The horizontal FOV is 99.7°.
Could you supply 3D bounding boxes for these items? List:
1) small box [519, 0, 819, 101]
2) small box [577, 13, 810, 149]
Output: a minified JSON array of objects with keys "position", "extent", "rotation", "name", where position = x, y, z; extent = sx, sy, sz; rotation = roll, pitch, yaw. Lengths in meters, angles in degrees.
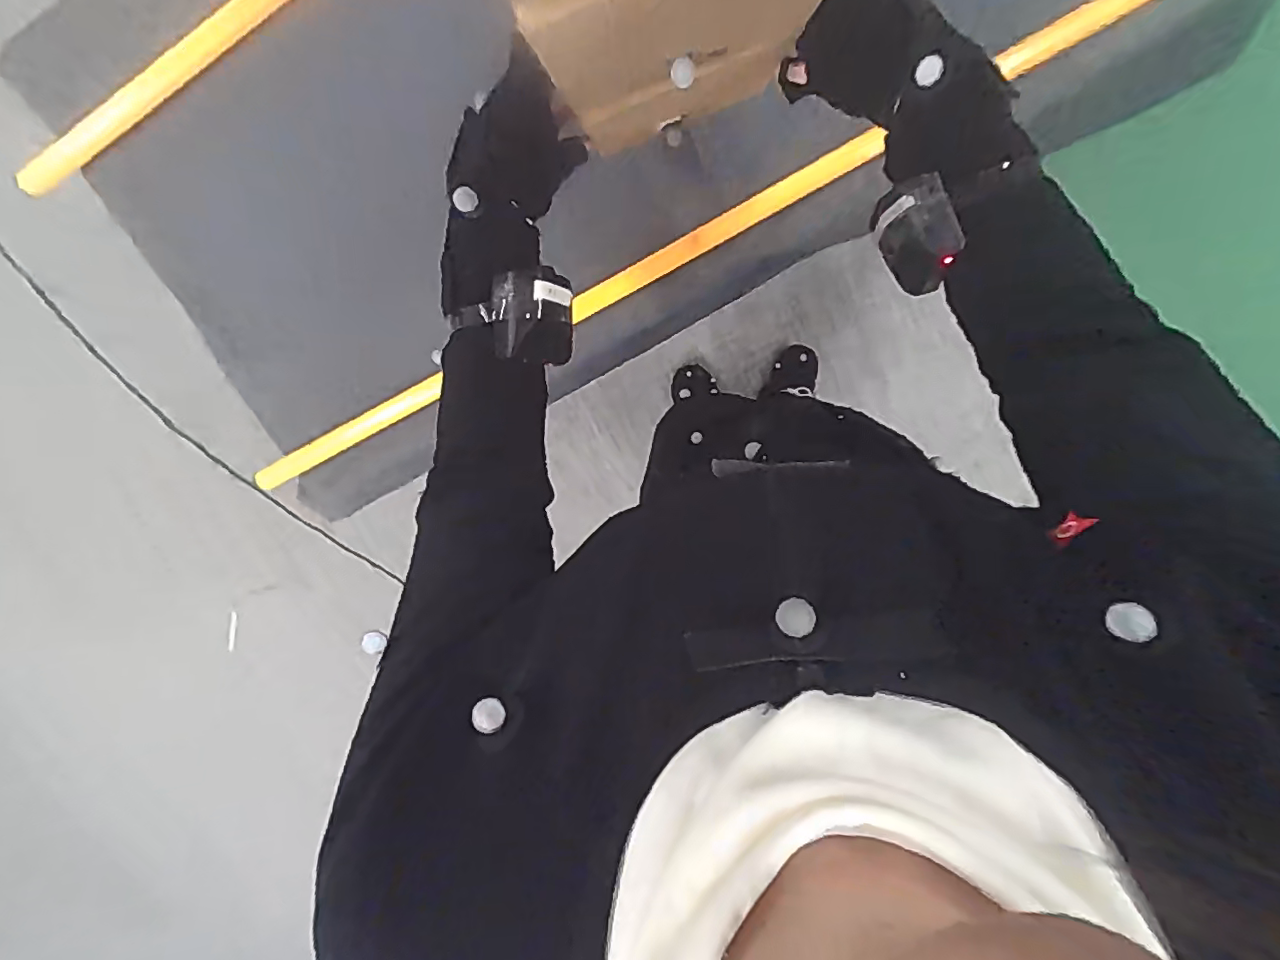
[{"position":[0.007,-0.328,0.266],"extent":[0.168,0.176,0.179],"rotation":[-14,113,9],"name":"small box"},{"position":[0.014,-0.390,0.419],"extent":[0.168,0.176,0.179],"rotation":[-18,113,11],"name":"small box"}]
